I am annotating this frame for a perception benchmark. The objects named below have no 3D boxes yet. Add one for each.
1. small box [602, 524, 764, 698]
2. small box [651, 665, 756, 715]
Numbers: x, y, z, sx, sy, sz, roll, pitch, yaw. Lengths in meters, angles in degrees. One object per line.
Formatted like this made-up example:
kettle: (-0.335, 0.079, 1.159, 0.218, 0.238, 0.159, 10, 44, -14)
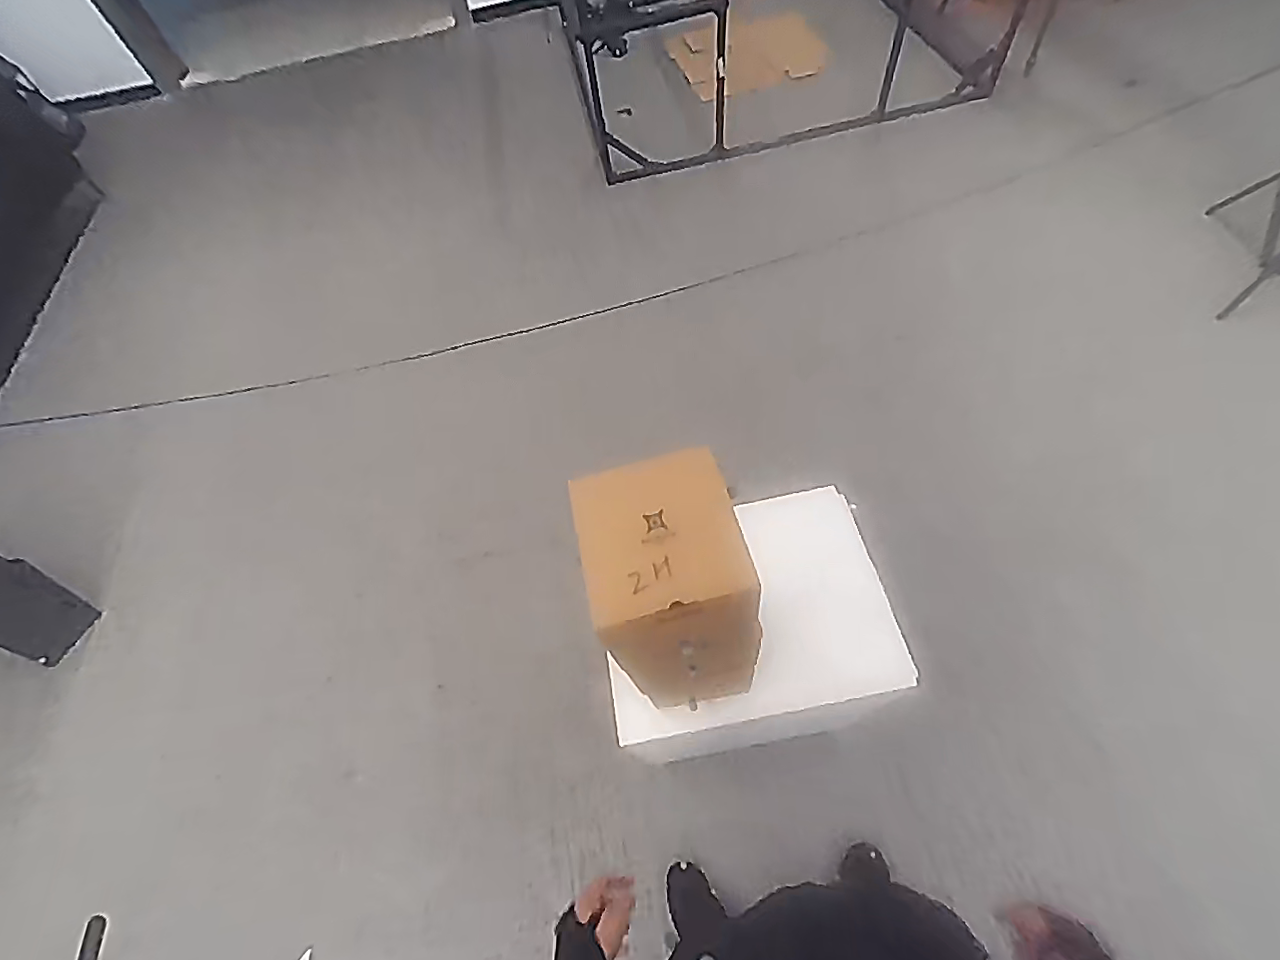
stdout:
small box: (0.058, 0.188, 0.751, 0.179, 0.176, 0.168, -16, 57, 0)
small box: (0.085, 0.271, 0.890, 0.168, 0.176, 0.179, -11, 58, 1)
